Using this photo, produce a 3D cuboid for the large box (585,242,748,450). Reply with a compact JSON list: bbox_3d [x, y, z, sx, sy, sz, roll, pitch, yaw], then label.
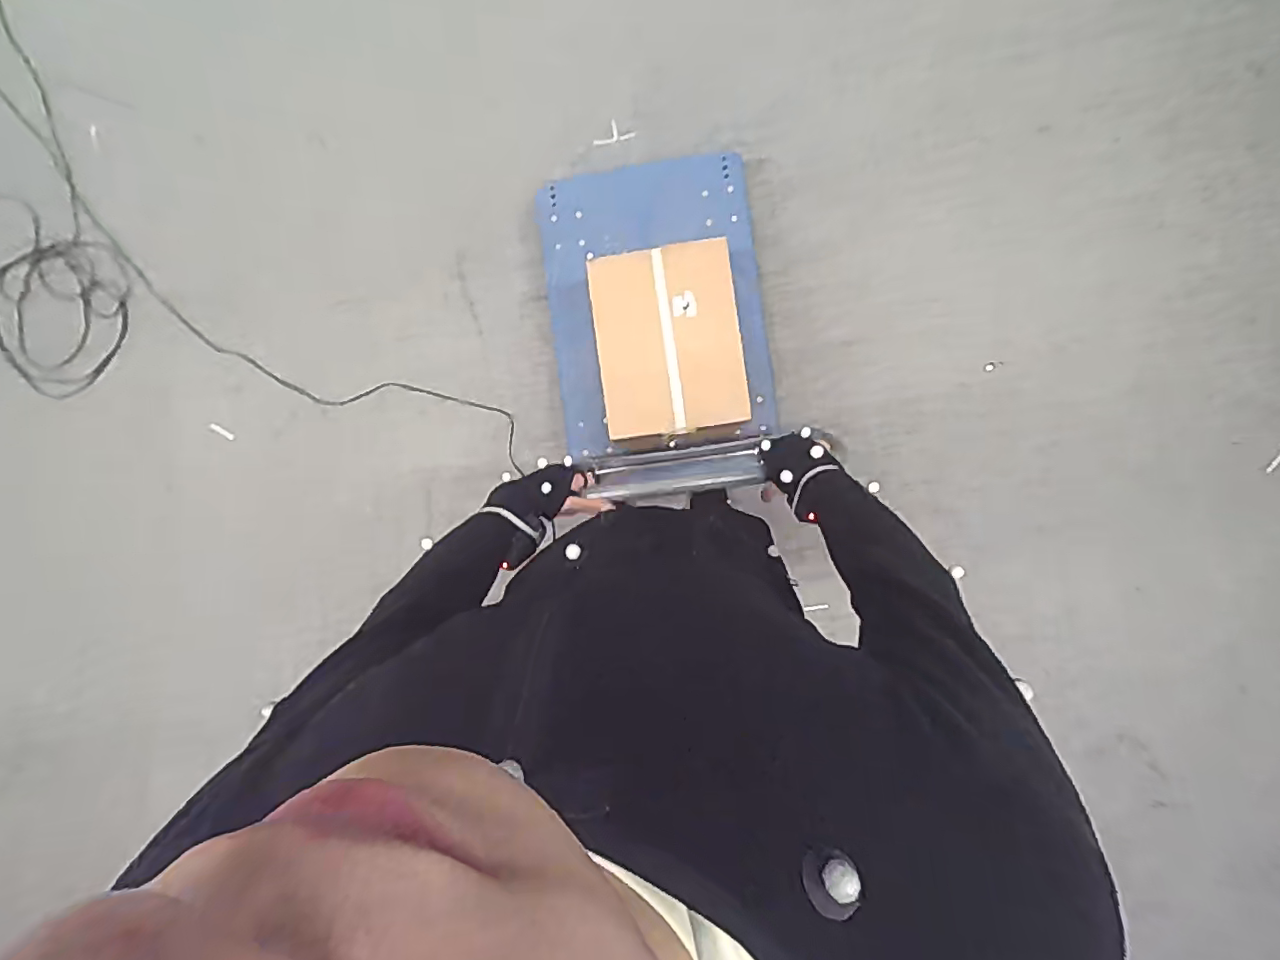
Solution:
[{"bbox_3d":[0.068,-0.303,1.338,0.320,0.320,0.408,-8,88,3],"label":"large box"}]
